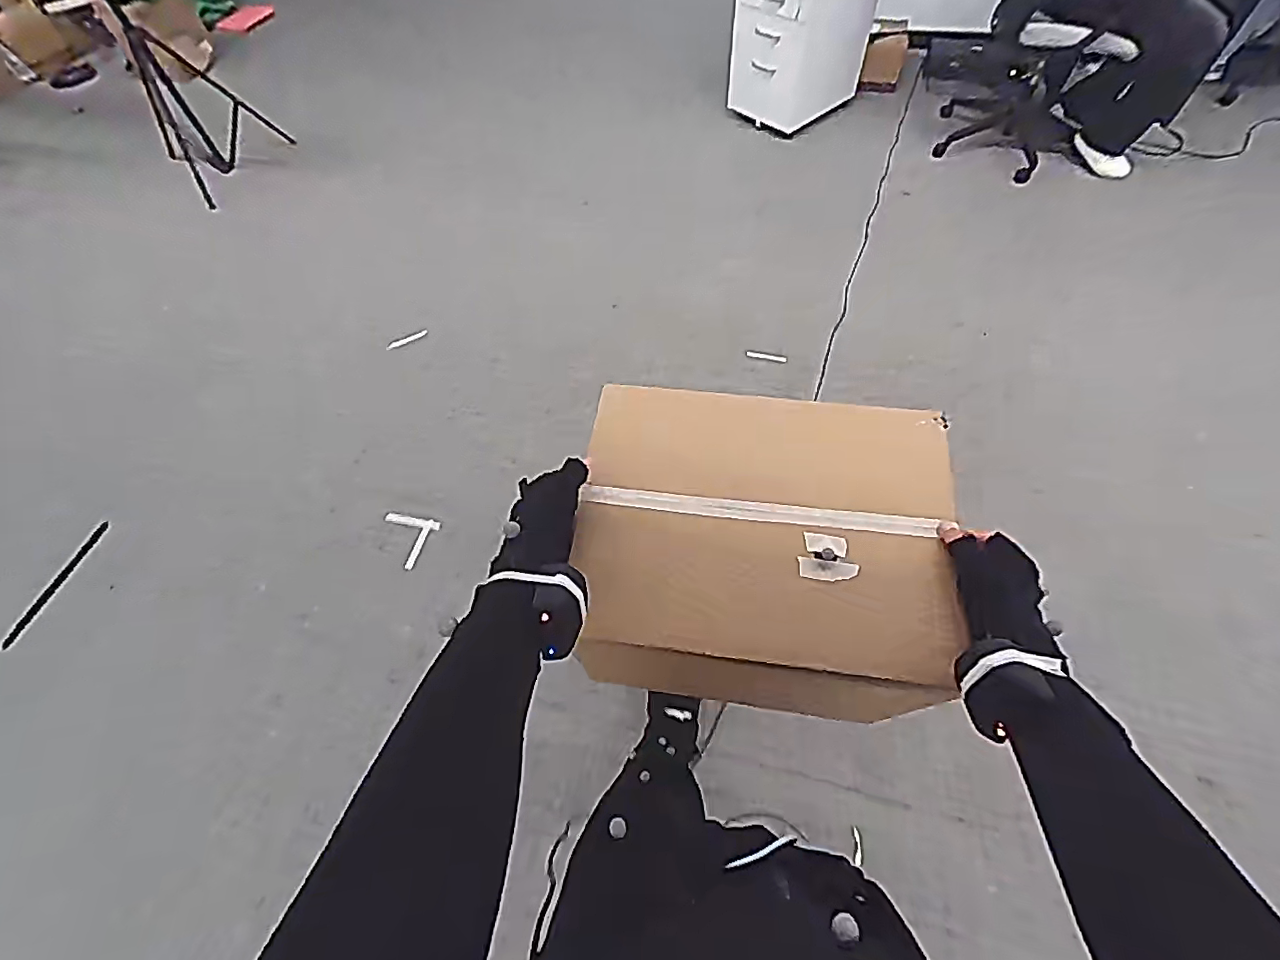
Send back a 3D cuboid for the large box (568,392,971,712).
[{"bbox_3d":[0.147,0.108,0.733,0.408,0.320,0.320,6,62,7],"label":"large box"}]
